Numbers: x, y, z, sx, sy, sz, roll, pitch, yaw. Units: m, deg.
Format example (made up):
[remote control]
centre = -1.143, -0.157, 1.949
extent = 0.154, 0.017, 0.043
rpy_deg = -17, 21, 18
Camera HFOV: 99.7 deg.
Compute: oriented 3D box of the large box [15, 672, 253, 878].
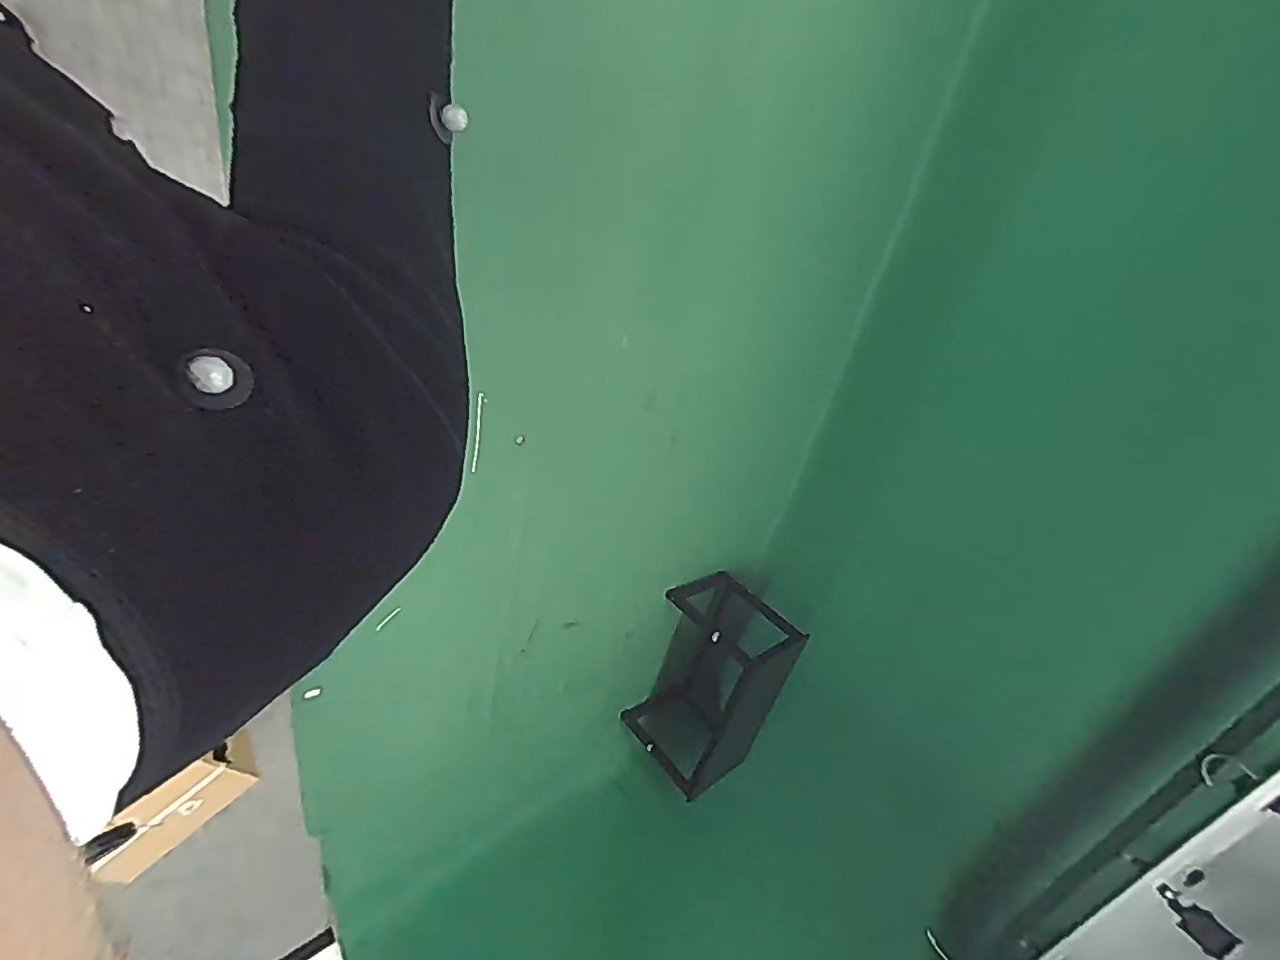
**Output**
[large box]
centre = -1.475, 0.864, 1.598
extent = 0.408, 0.320, 0.320
rpy_deg = -40, 142, -18
